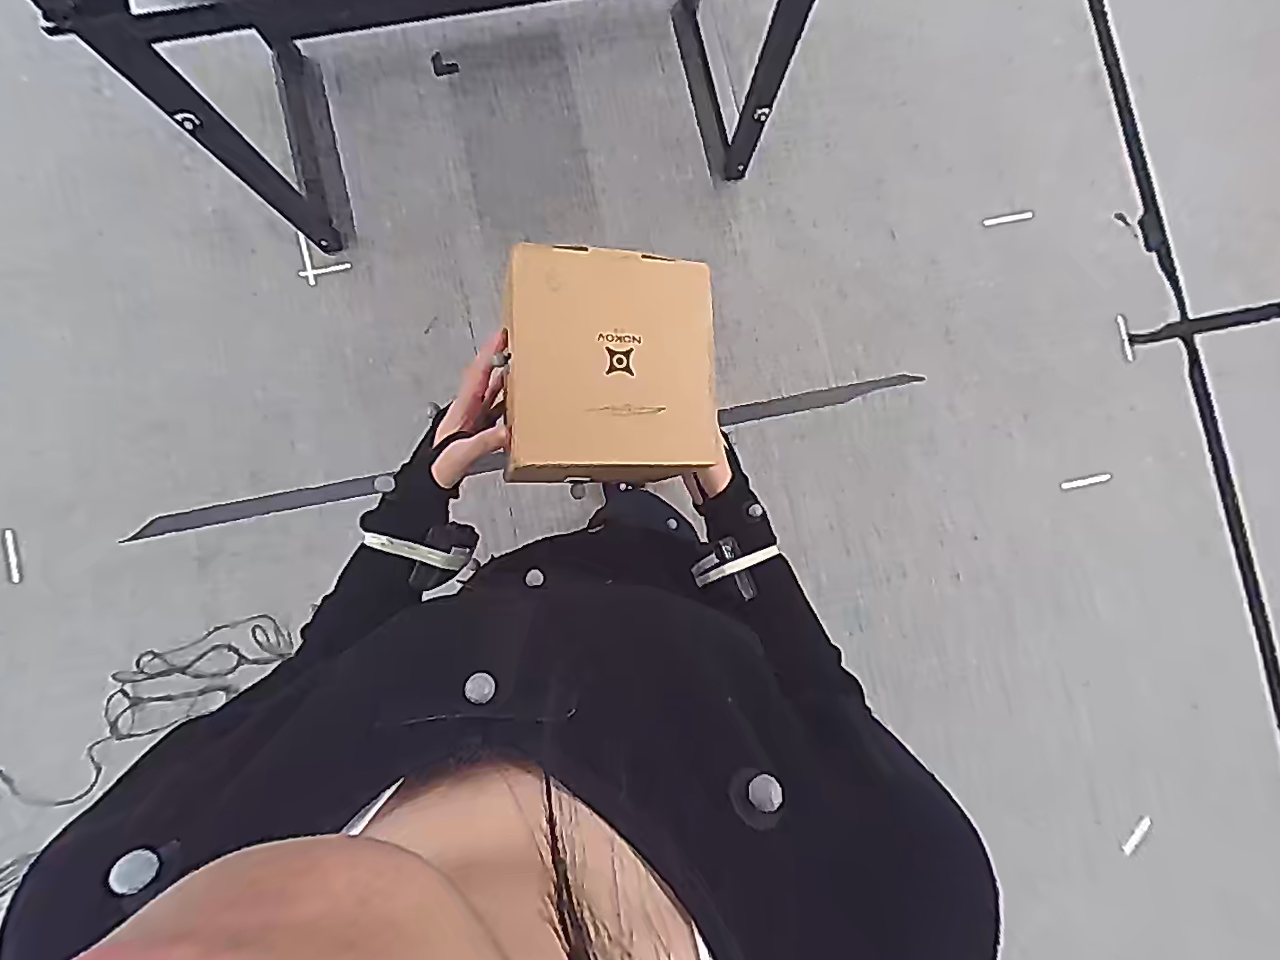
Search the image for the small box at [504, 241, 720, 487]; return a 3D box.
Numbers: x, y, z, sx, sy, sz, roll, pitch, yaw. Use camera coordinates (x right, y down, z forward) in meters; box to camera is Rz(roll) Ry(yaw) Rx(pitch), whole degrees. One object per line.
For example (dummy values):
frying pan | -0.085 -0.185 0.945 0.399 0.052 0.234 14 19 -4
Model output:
small box | -0.038 -0.088 0.503 0.168 0.176 0.179 0 85 -17
